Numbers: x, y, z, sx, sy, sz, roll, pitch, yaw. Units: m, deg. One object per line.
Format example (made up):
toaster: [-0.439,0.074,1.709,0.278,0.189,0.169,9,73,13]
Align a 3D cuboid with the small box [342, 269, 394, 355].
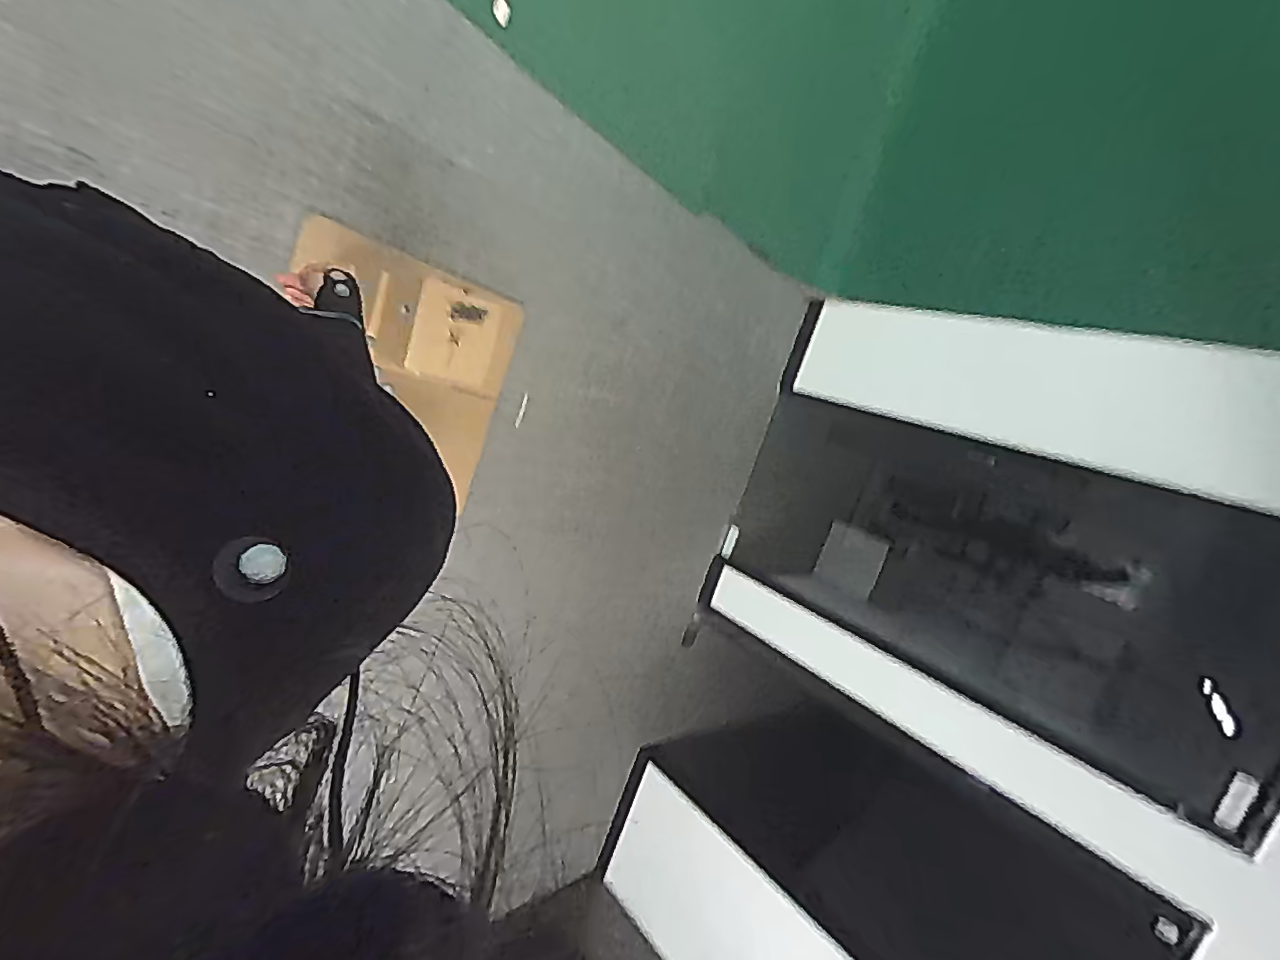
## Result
small box: [-0.529,-0.353,1.191,0.179,0.176,0.168,10,103,-48]

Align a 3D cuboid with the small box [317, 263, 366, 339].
small box: [-0.645,-0.407,1.295,0.179,0.176,0.168,9,103,-49]

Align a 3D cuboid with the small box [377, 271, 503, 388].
small box: [-0.407,-0.305,1.091,0.168,0.176,0.179,8,104,-47]
